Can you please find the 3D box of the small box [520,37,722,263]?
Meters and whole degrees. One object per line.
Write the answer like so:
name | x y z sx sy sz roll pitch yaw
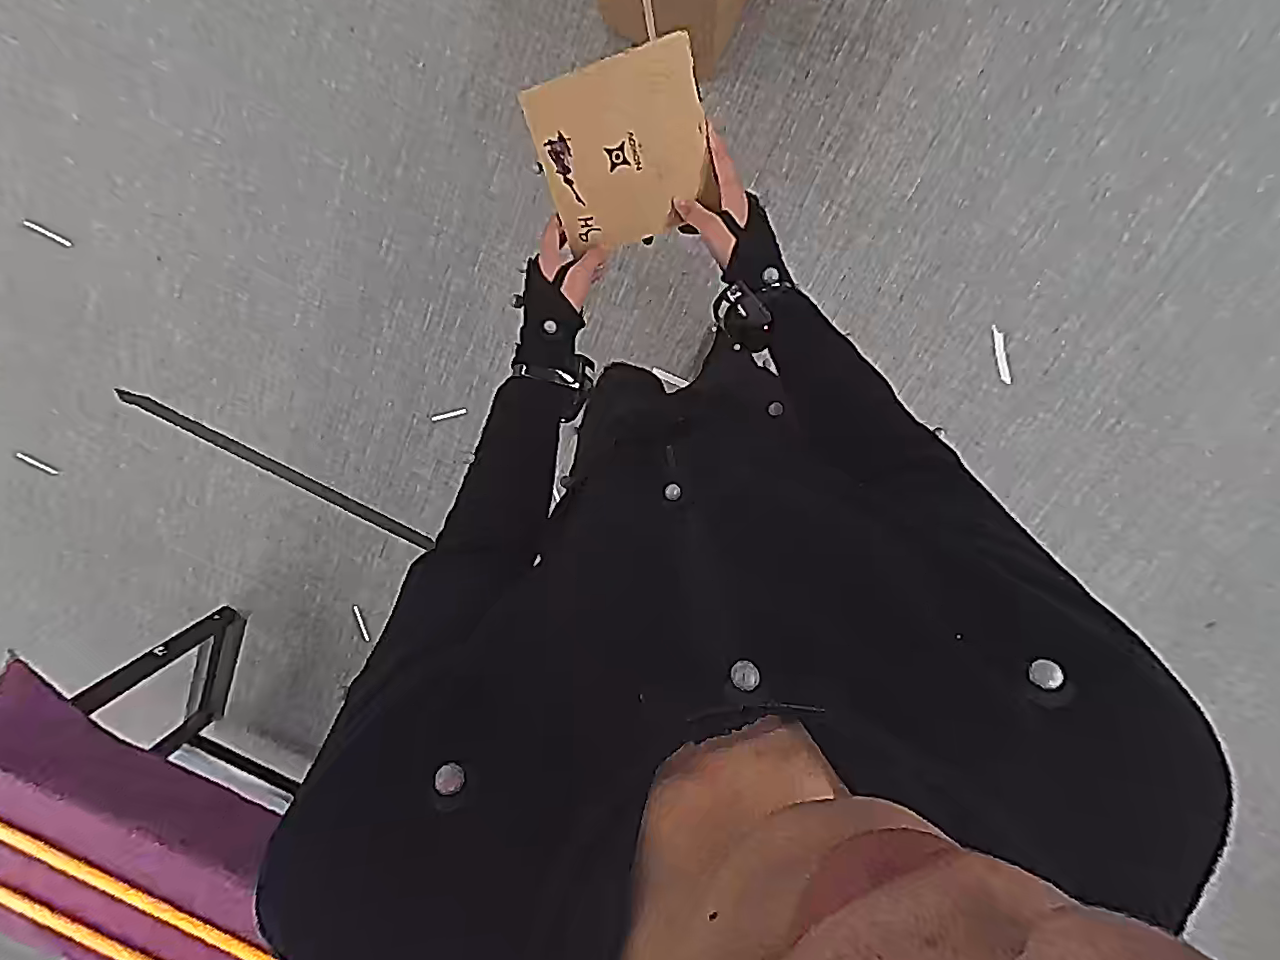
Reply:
small box | -0.018 -0.371 0.628 0.179 0.176 0.168 -16 117 6
